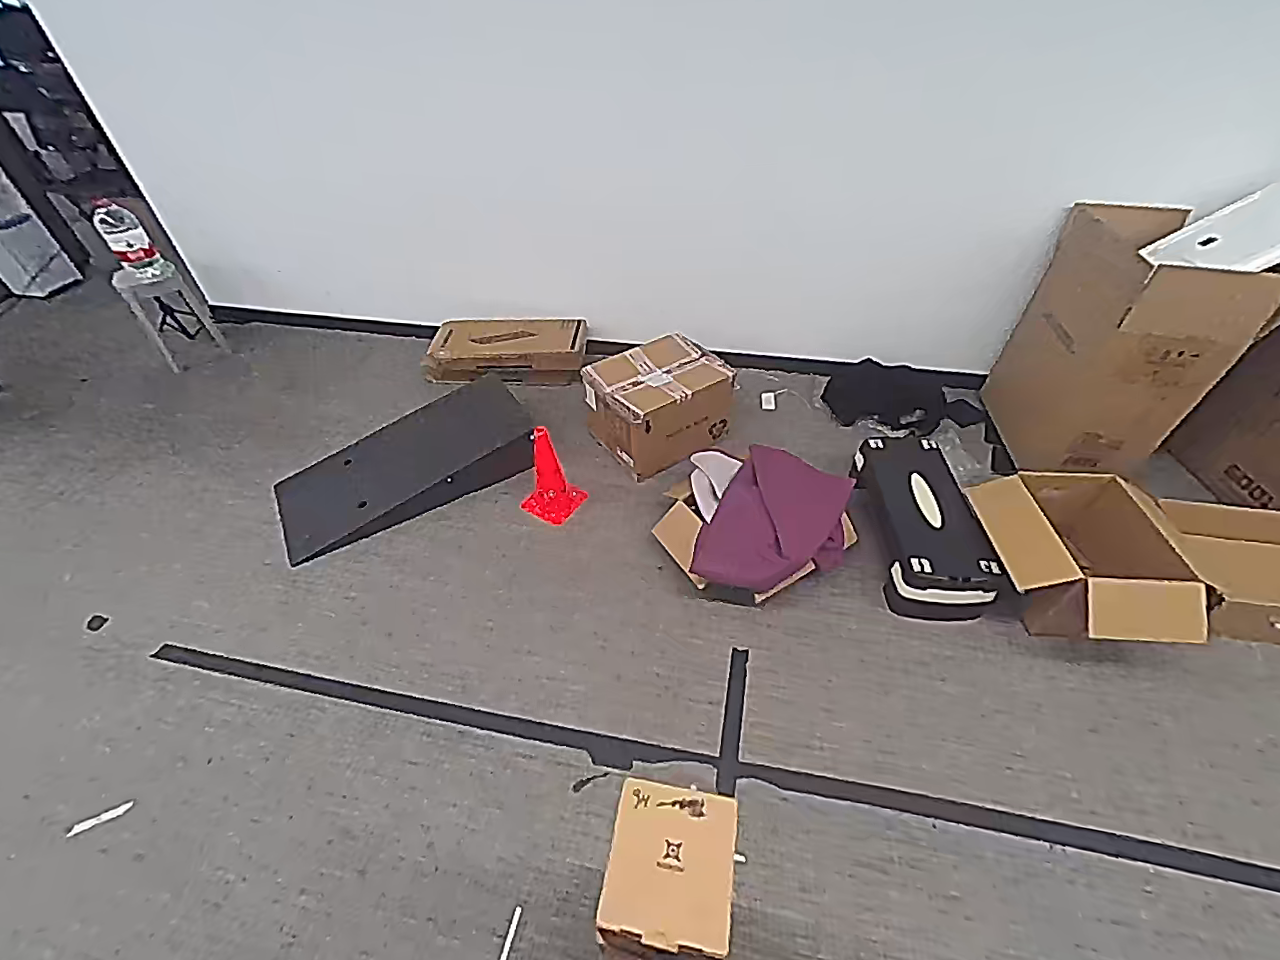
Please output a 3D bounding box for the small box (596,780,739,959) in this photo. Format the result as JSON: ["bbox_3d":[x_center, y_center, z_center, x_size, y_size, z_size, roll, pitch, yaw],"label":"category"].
[{"bbox_3d":[0.046,0.560,0.766,0.168,0.176,0.179,7,46,9],"label":"small box"}]
